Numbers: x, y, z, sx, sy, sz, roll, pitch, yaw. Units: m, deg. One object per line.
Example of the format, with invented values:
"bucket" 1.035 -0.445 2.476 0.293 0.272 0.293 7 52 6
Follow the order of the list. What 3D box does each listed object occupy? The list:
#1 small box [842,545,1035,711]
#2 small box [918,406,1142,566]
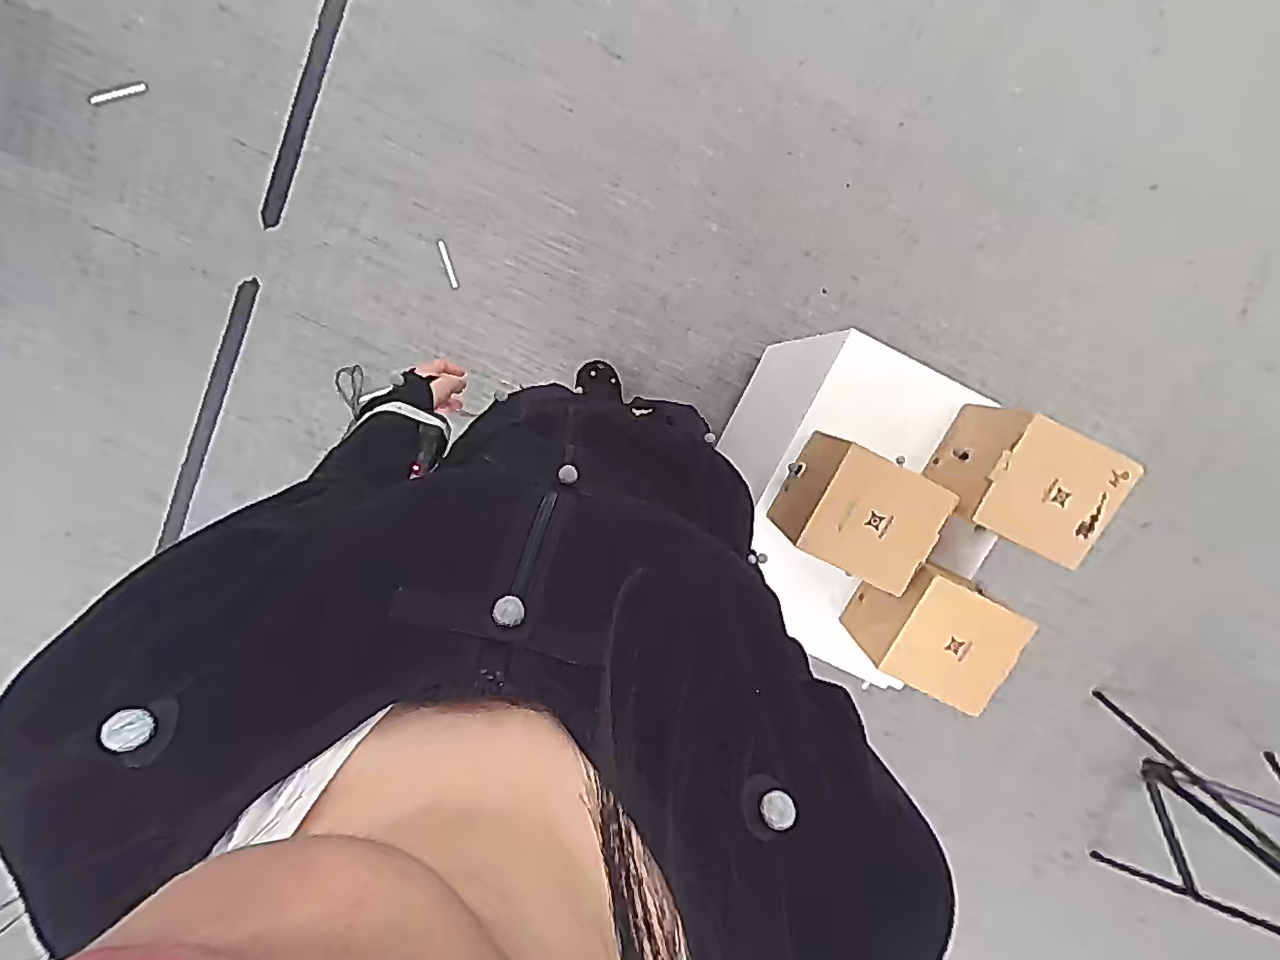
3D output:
"small box" 0.454 0.220 0.857 0.179 0.176 0.168 26 100 -5
"small box" 0.561 -0.002 0.810 0.179 0.176 0.168 26 102 -4
